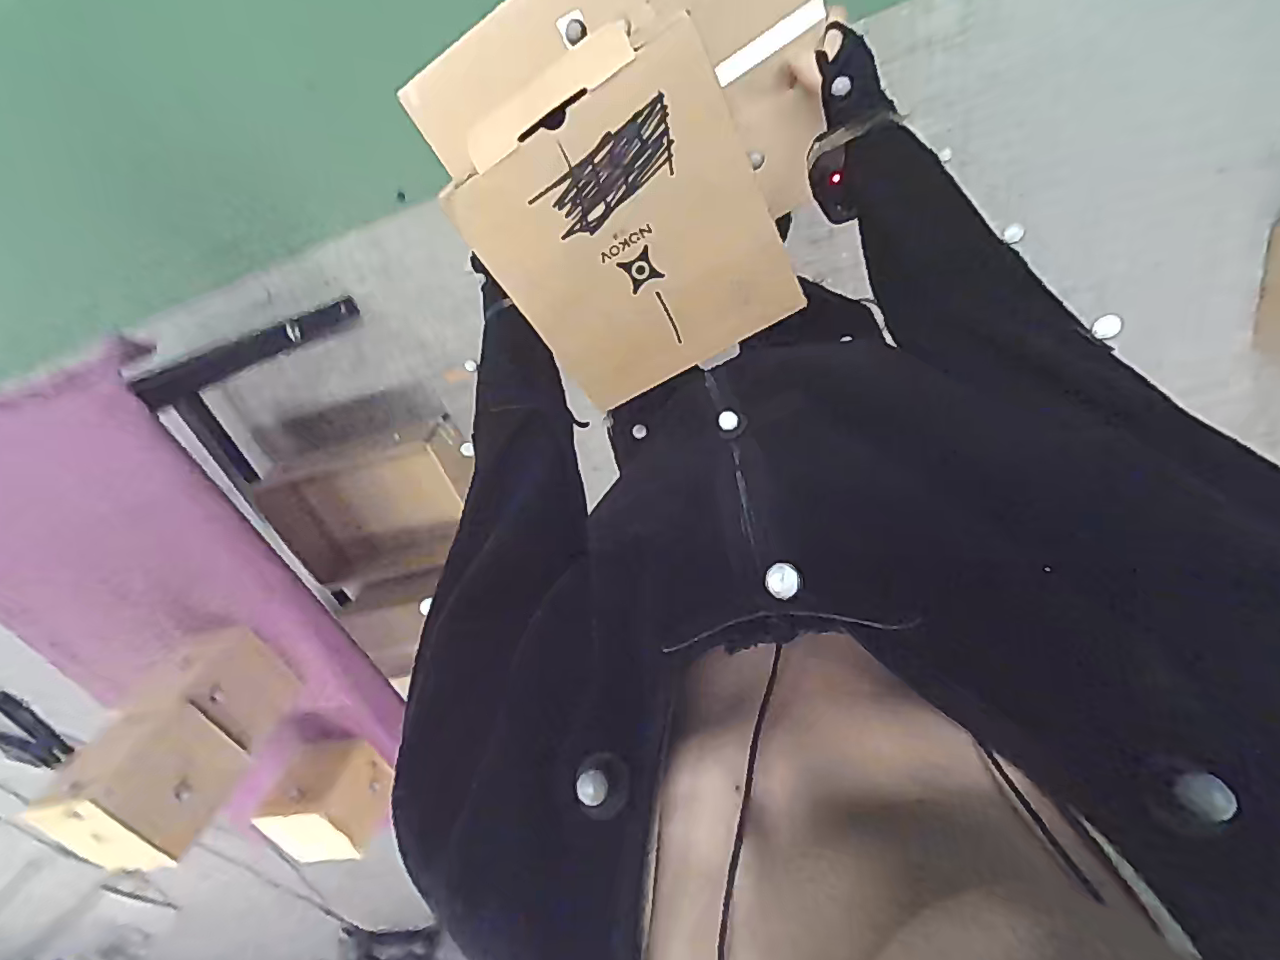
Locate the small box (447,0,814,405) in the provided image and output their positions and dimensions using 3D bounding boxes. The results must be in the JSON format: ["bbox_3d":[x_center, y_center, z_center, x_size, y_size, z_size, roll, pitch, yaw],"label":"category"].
[{"bbox_3d":[-0.001,-0.193,0.385,0.168,0.176,0.179,-24,128,18],"label":"small box"}]

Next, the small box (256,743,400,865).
[{"bbox_3d":[-0.665,0.701,1.175,0.179,0.176,0.168,-14,118,14],"label":"small box"}]

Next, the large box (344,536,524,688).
[{"bbox_3d":[-0.655,0.431,1.786,0.408,0.320,0.320,-15,118,12],"label":"large box"}]

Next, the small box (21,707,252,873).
[{"bbox_3d":[-0.789,0.497,0.872,0.168,0.176,0.179,-16,118,15],"label":"small box"}]

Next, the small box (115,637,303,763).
[{"bbox_3d":[-0.792,0.414,1.015,0.168,0.176,0.179,-14,119,15],"label":"small box"}]
